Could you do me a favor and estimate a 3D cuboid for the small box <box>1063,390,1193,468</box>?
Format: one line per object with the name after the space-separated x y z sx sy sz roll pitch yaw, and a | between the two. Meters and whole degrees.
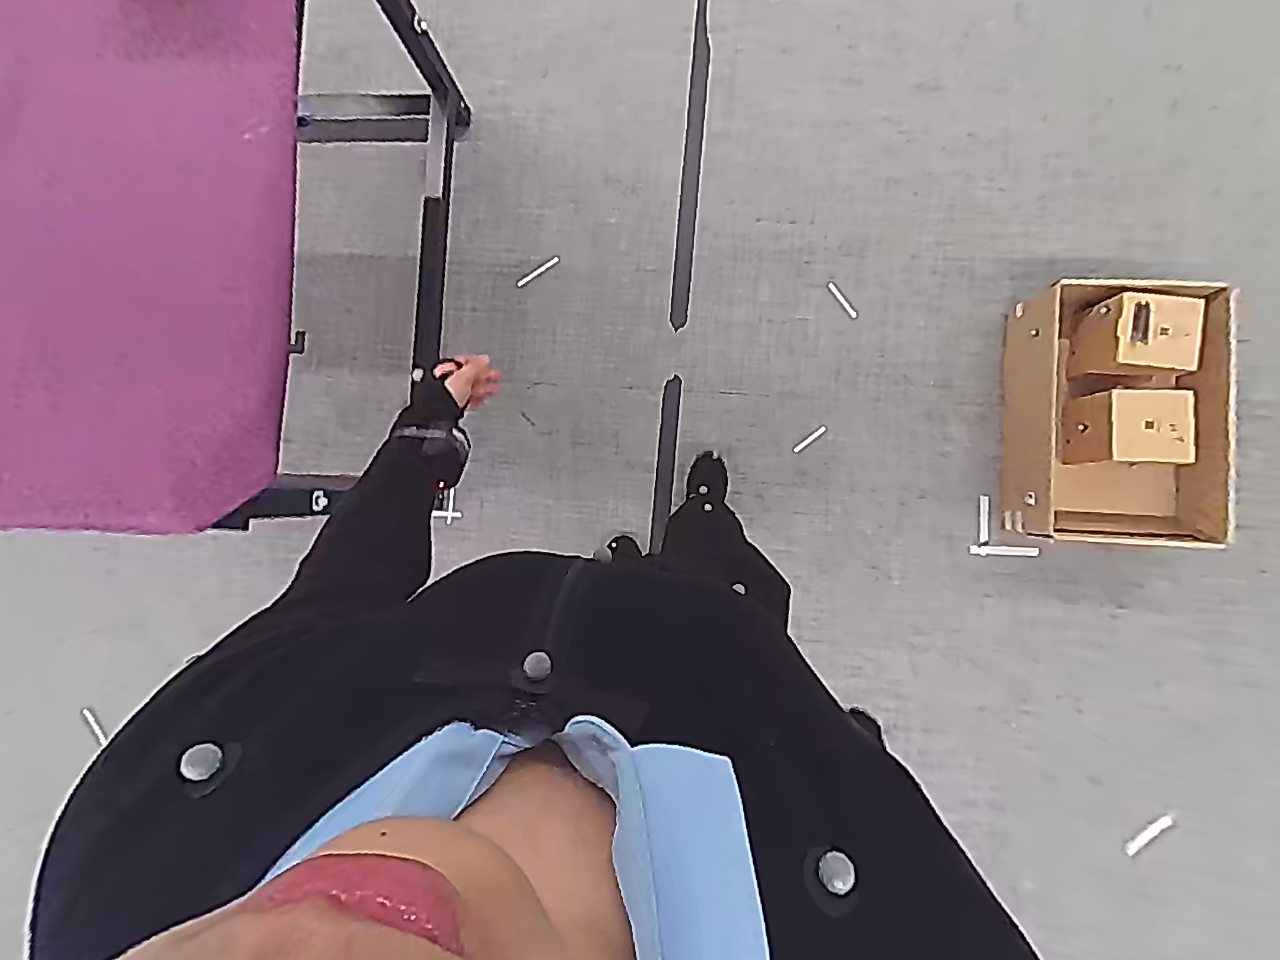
1.165 -0.118 1.305 0.179 0.176 0.168 2 88 4 | small box
